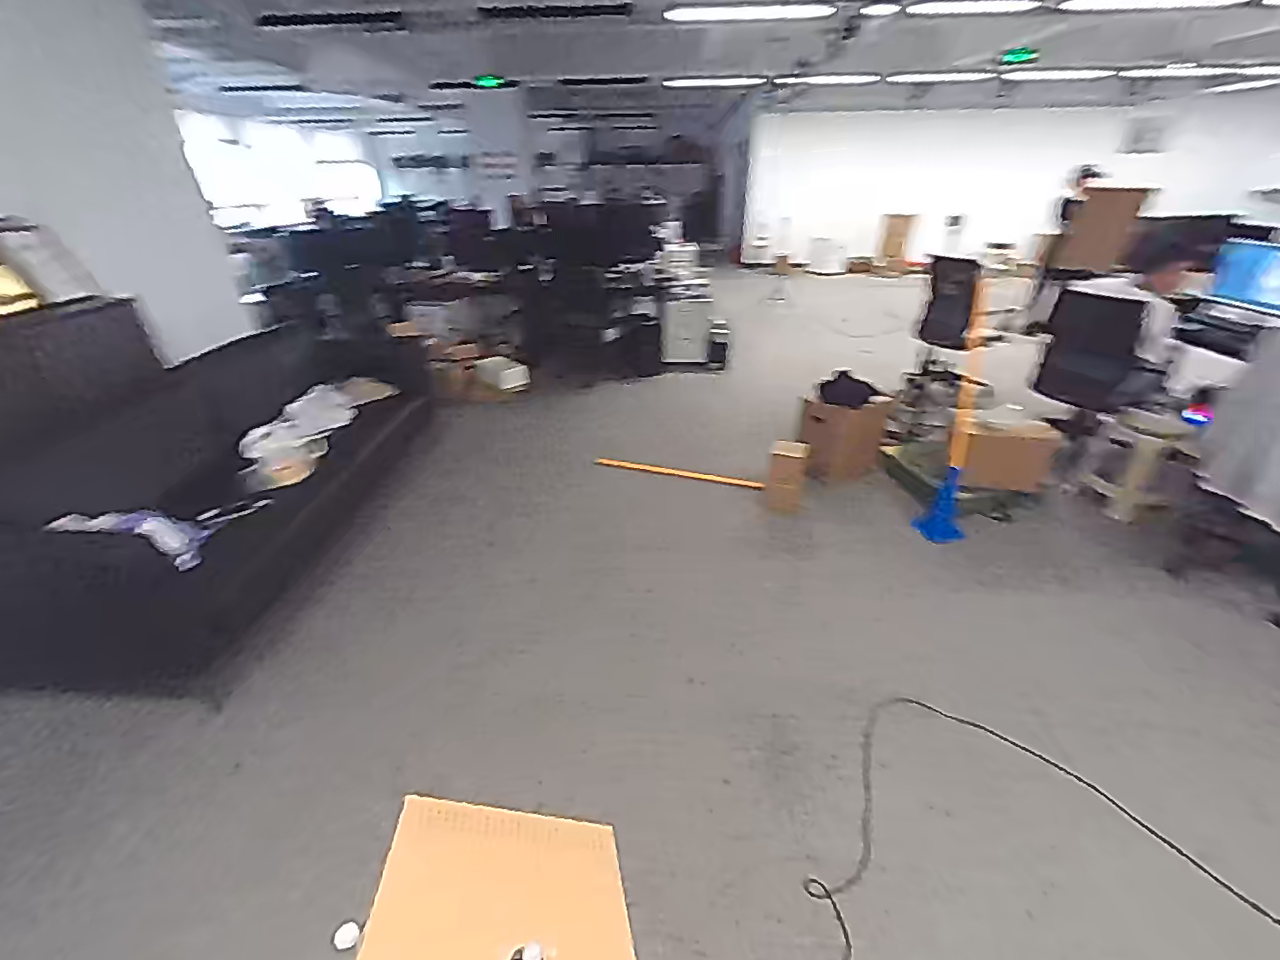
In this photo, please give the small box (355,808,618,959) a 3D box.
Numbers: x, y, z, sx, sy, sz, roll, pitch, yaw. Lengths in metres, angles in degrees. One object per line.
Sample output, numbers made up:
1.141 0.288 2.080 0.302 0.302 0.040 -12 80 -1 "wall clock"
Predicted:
-0.118 0.373 0.387 0.179 0.168 0.176 17 5 -13 "small box"
